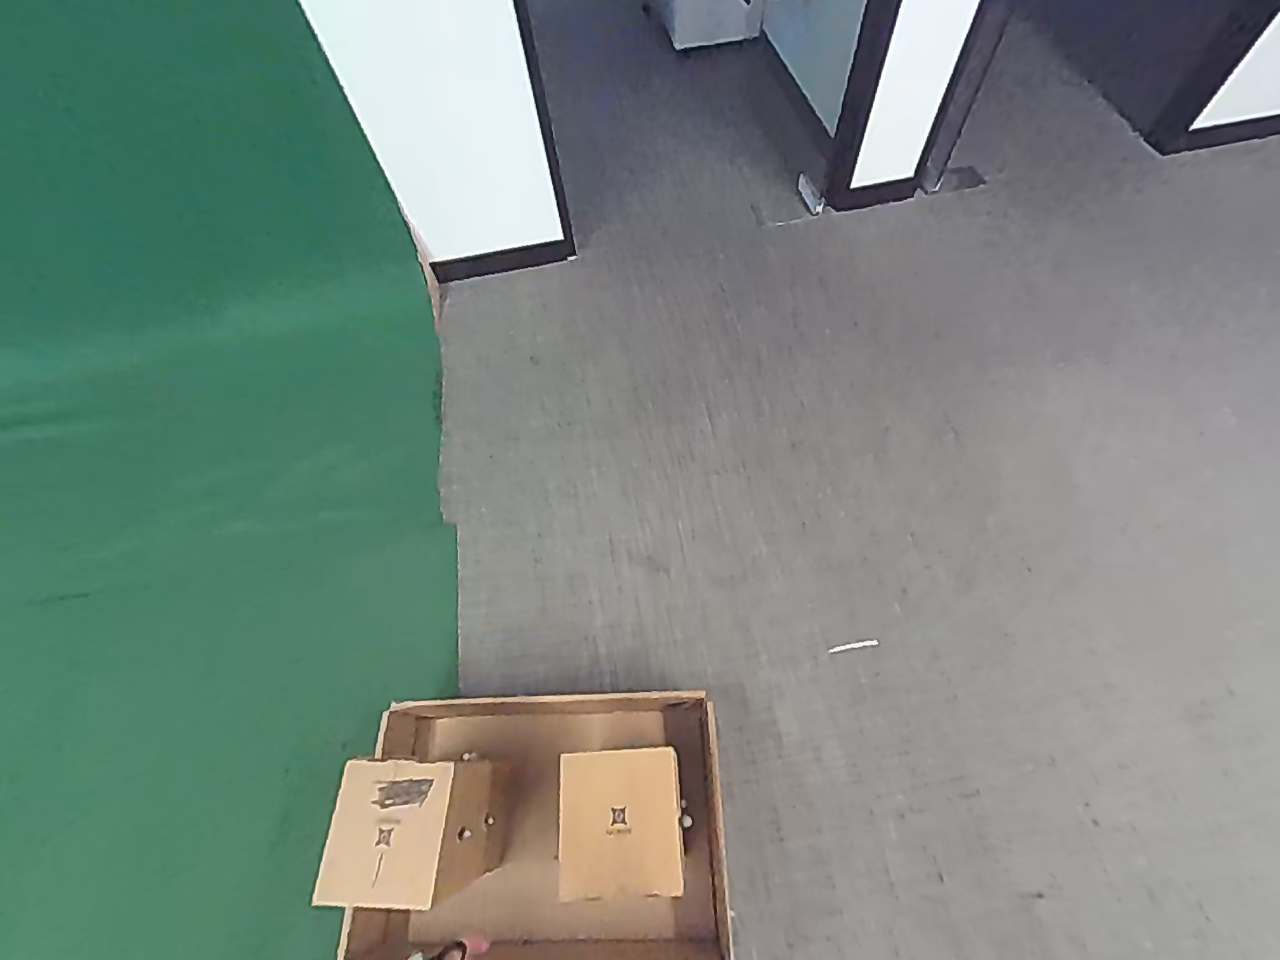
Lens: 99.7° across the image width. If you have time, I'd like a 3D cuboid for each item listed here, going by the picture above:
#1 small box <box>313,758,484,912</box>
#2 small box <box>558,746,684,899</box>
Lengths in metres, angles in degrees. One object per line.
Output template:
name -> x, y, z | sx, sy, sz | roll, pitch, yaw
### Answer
small box -> -0.348, 0.524, 0.820 | 0.168, 0.176, 0.179 | 0, 63, 3
small box -> -0.023, 0.502, 0.808 | 0.168, 0.176, 0.179 | -4, 62, 3
